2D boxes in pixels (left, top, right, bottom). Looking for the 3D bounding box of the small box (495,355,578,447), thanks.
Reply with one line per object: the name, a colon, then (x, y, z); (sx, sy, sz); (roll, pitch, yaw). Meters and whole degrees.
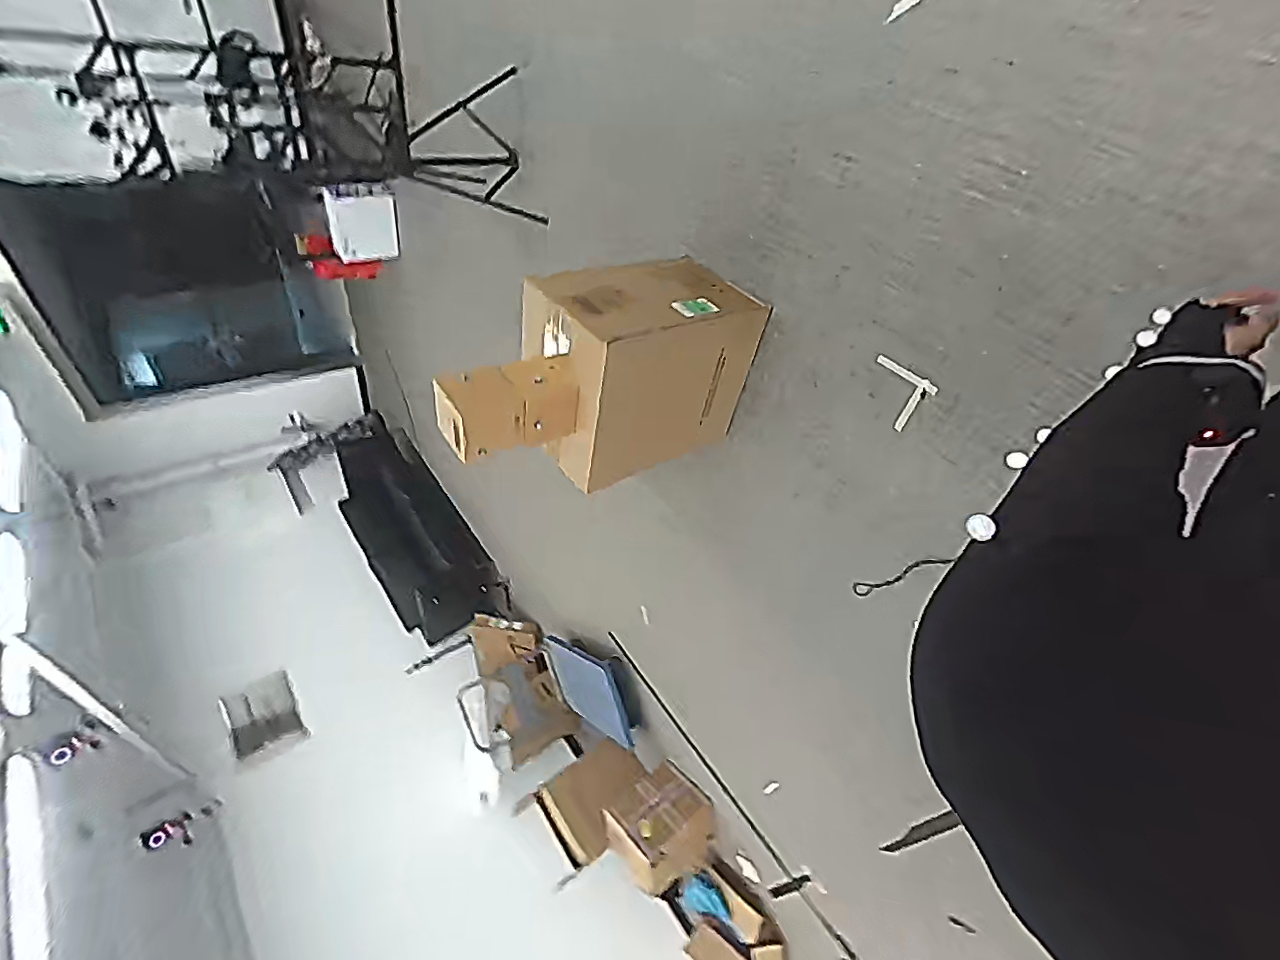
small box: (-0.289, -0.227, 1.510); (0.168, 0.176, 0.179); (45, 142, 30)
